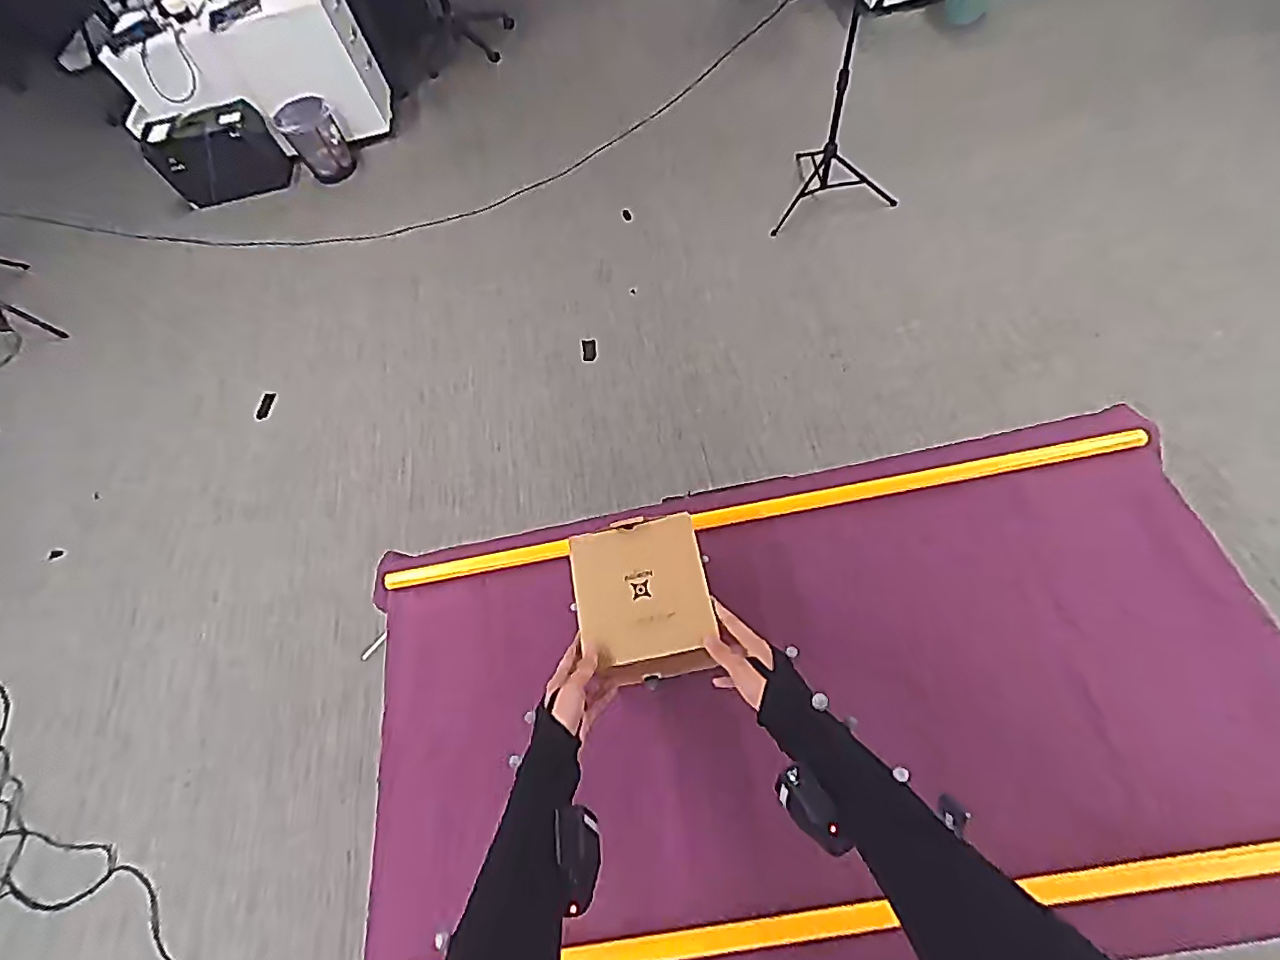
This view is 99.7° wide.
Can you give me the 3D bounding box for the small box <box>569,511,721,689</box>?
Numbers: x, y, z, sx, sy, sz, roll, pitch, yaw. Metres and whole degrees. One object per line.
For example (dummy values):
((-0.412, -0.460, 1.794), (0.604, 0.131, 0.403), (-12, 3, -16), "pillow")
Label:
((0.008, 0.168, 0.736), (0.168, 0.176, 0.179), (-13, 61, 1), "small box")
